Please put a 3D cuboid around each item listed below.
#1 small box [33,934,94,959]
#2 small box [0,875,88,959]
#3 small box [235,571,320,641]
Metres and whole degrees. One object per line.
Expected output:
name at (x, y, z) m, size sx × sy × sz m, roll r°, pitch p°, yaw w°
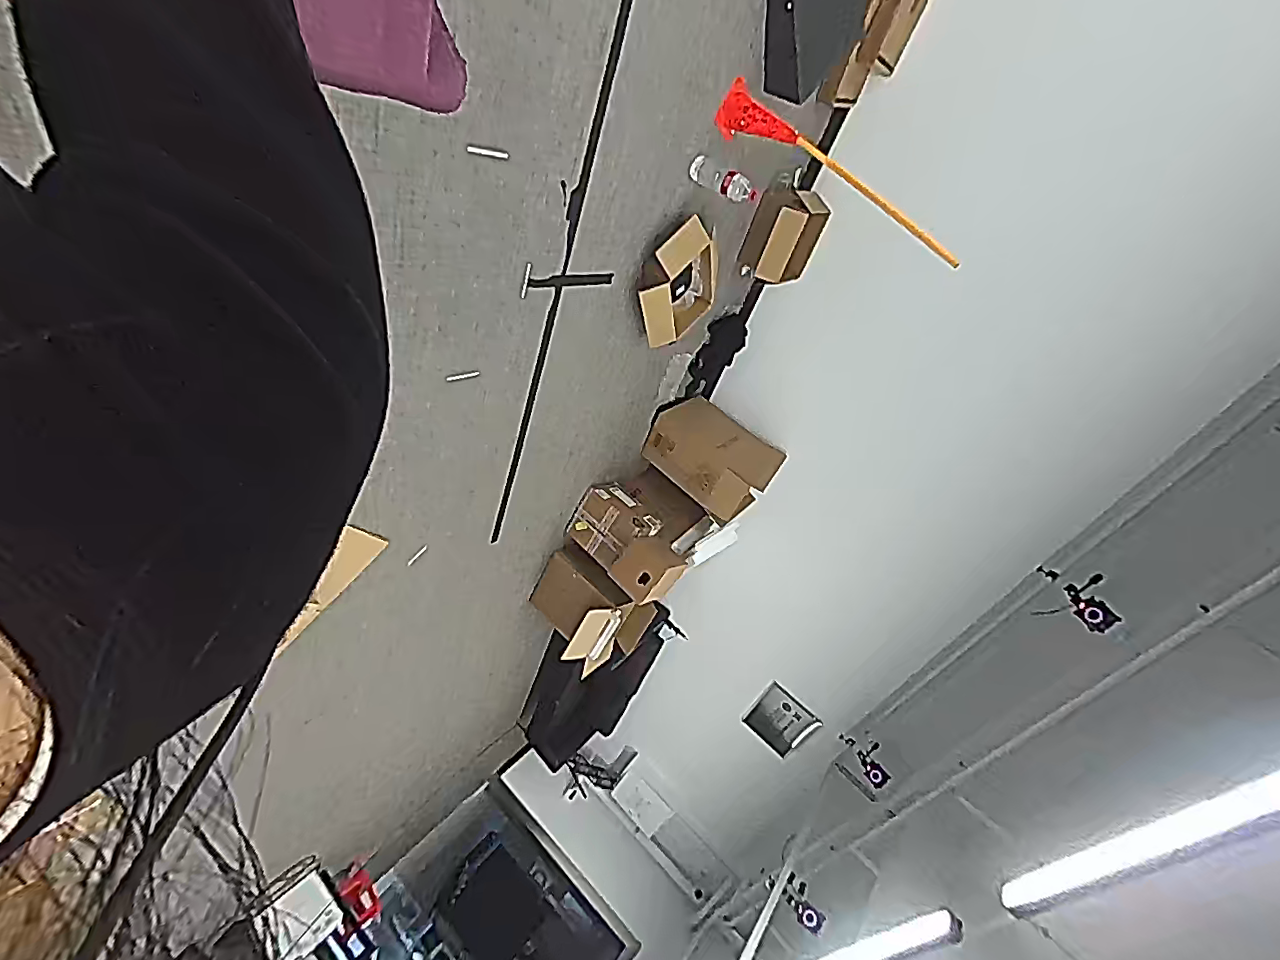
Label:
small box at (-1.428, 1.260, 1.309) m, size 0.168 × 0.176 × 0.179 m, roll -24°, pitch 148°, yaw -53°
small box at (-1.545, 1.153, 1.355) m, size 0.179 × 0.176 × 0.168 m, roll -27°, pitch 150°, yaw -51°
small box at (-1.331, 0.461, 1.974) m, size 0.179 × 0.176 × 0.168 m, roll -47°, pitch 160°, yaw -6°
